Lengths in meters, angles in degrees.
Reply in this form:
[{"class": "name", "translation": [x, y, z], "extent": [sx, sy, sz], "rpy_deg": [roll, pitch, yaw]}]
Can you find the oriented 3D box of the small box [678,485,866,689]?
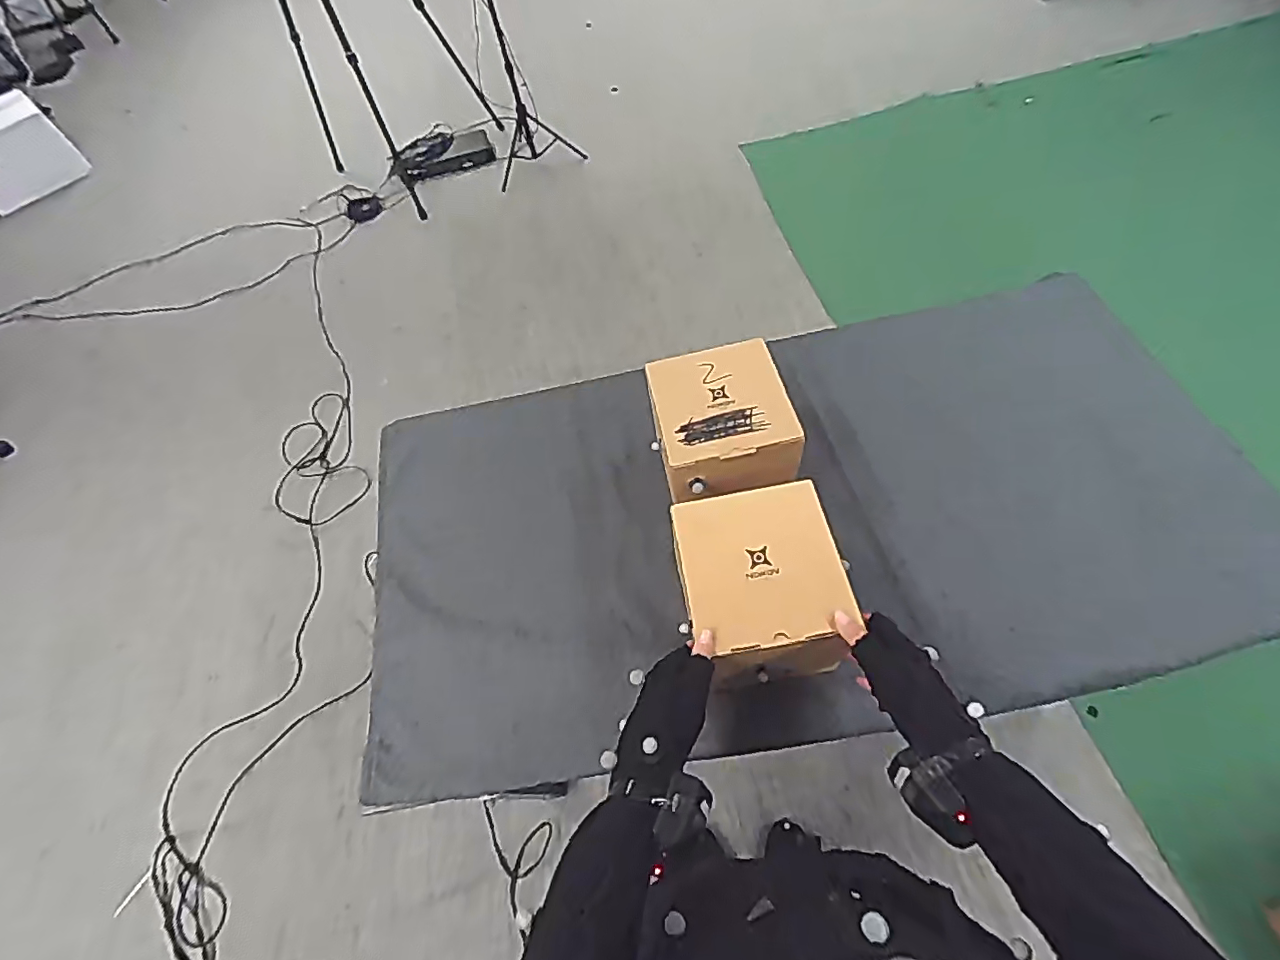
[{"class": "small box", "translation": [0.141, 0.132, 0.644], "extent": [0.168, 0.176, 0.179], "rpy_deg": [-11, 58, 2]}]
